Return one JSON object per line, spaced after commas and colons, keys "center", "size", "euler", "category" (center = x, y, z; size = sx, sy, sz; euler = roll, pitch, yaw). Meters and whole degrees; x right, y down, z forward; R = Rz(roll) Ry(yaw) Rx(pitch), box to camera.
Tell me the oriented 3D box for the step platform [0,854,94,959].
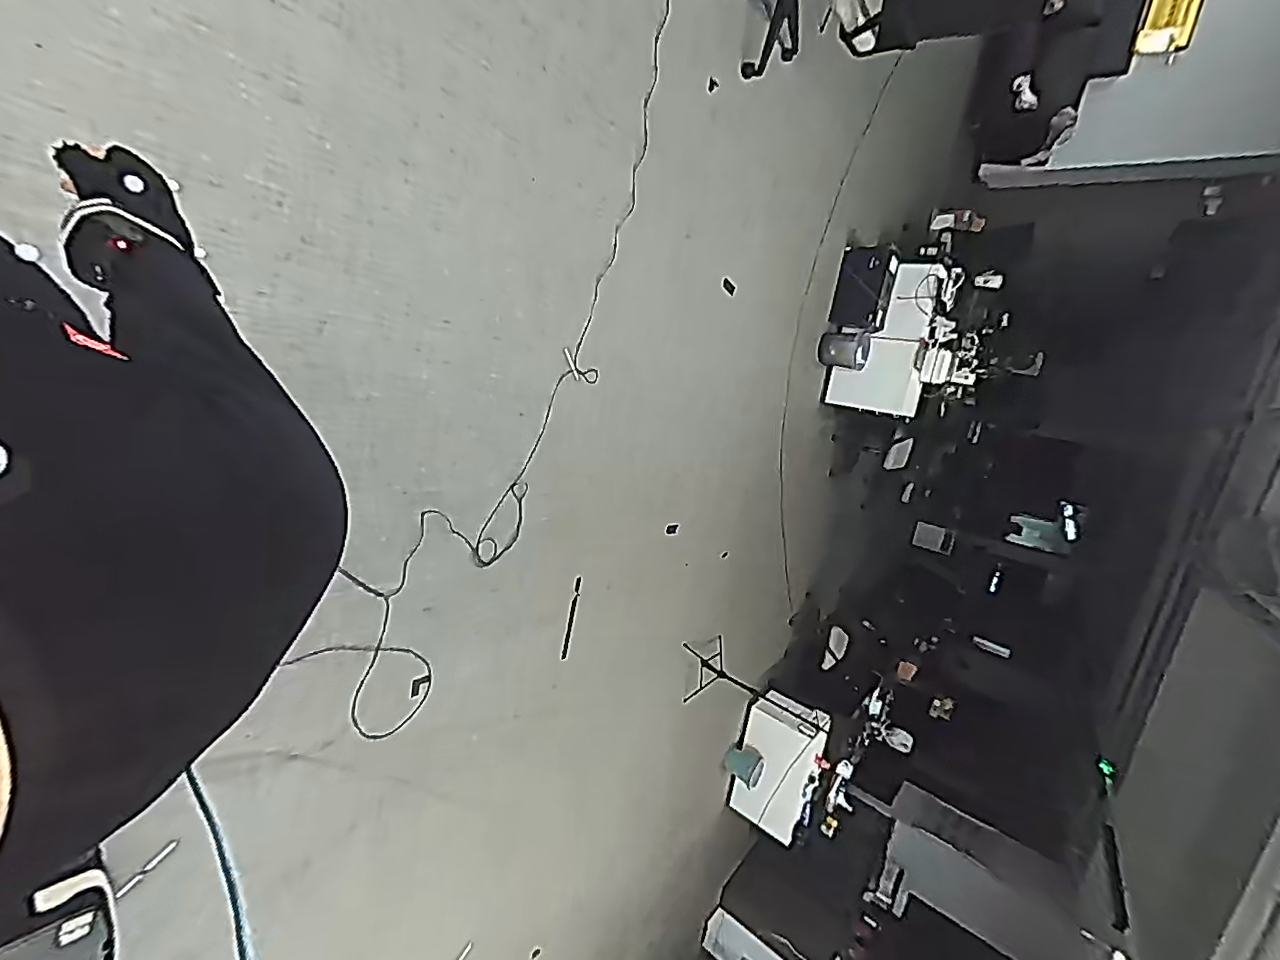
{"center": [-1.444, 1.012, 0.950], "size": [0.684, 0.204, 0.286], "euler": [-6, 109, -51], "category": "step platform"}
